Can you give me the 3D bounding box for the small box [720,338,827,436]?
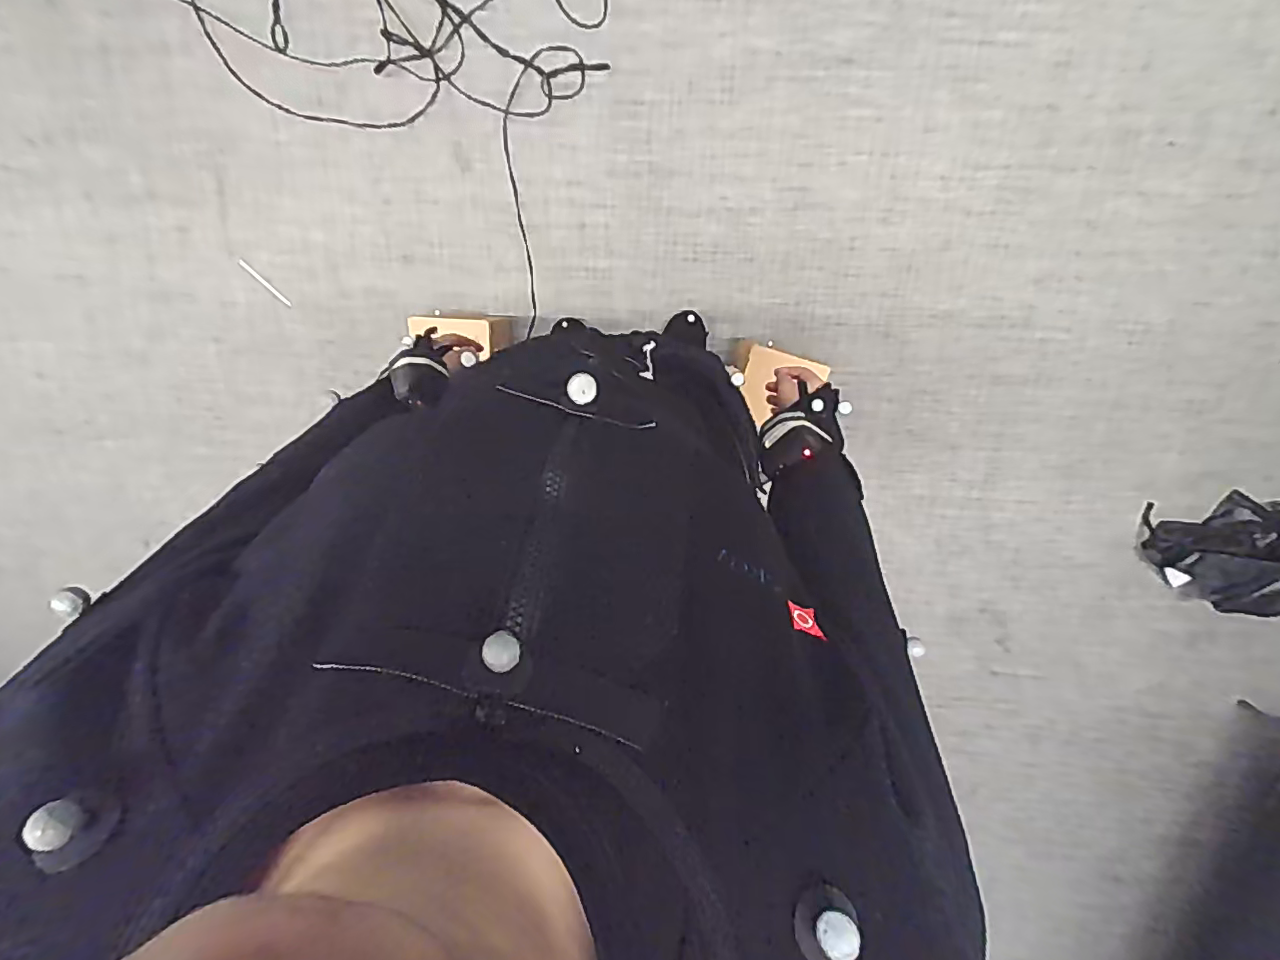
[{"bbox_3d":[0.294,-0.218,1.231,0.179,0.176,0.168,15,110,-3],"label":"small box"}]
